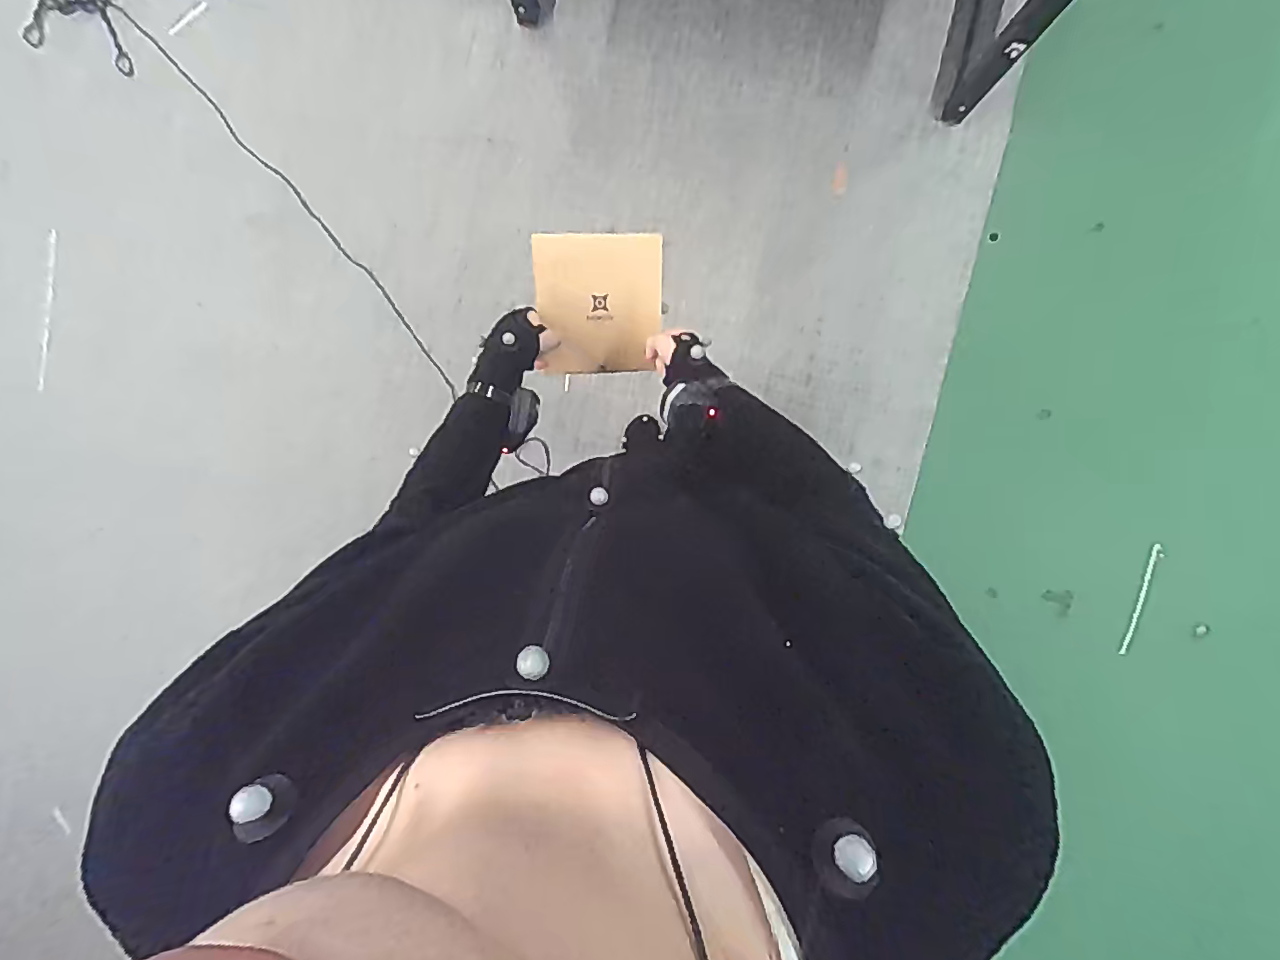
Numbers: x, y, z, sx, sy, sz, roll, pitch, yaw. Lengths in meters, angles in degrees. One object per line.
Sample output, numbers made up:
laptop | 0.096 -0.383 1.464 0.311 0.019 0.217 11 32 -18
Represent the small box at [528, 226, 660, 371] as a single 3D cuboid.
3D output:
small box | -0.069 -0.260 0.763 0.168 0.176 0.179 -4 116 -8
